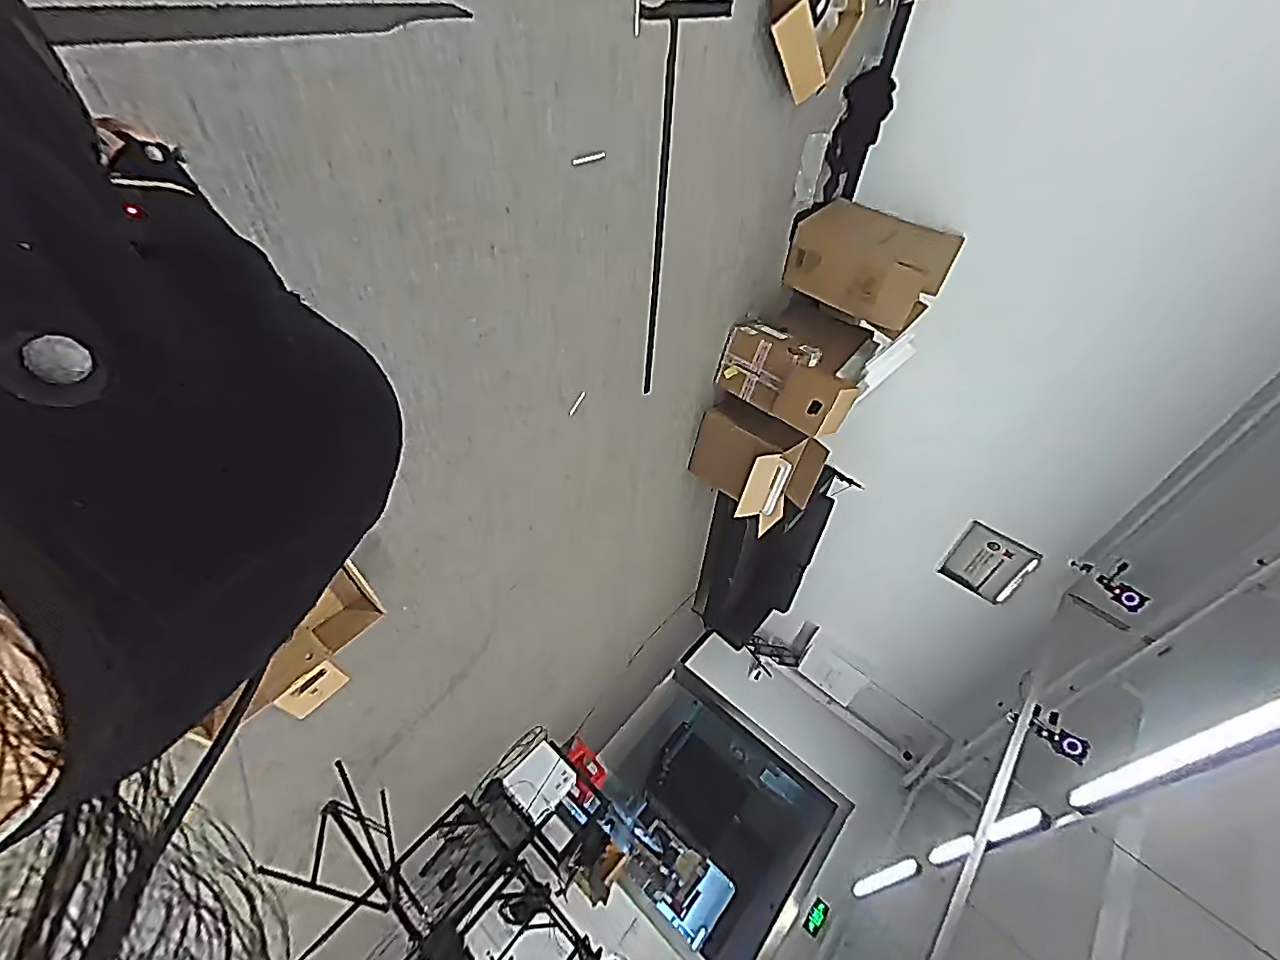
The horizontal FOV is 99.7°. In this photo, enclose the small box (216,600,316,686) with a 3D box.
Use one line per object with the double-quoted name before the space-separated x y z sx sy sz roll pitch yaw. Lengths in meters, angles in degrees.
"small box" -1.179 0.510 1.709 0.168 0.176 0.179 -43 152 -29
